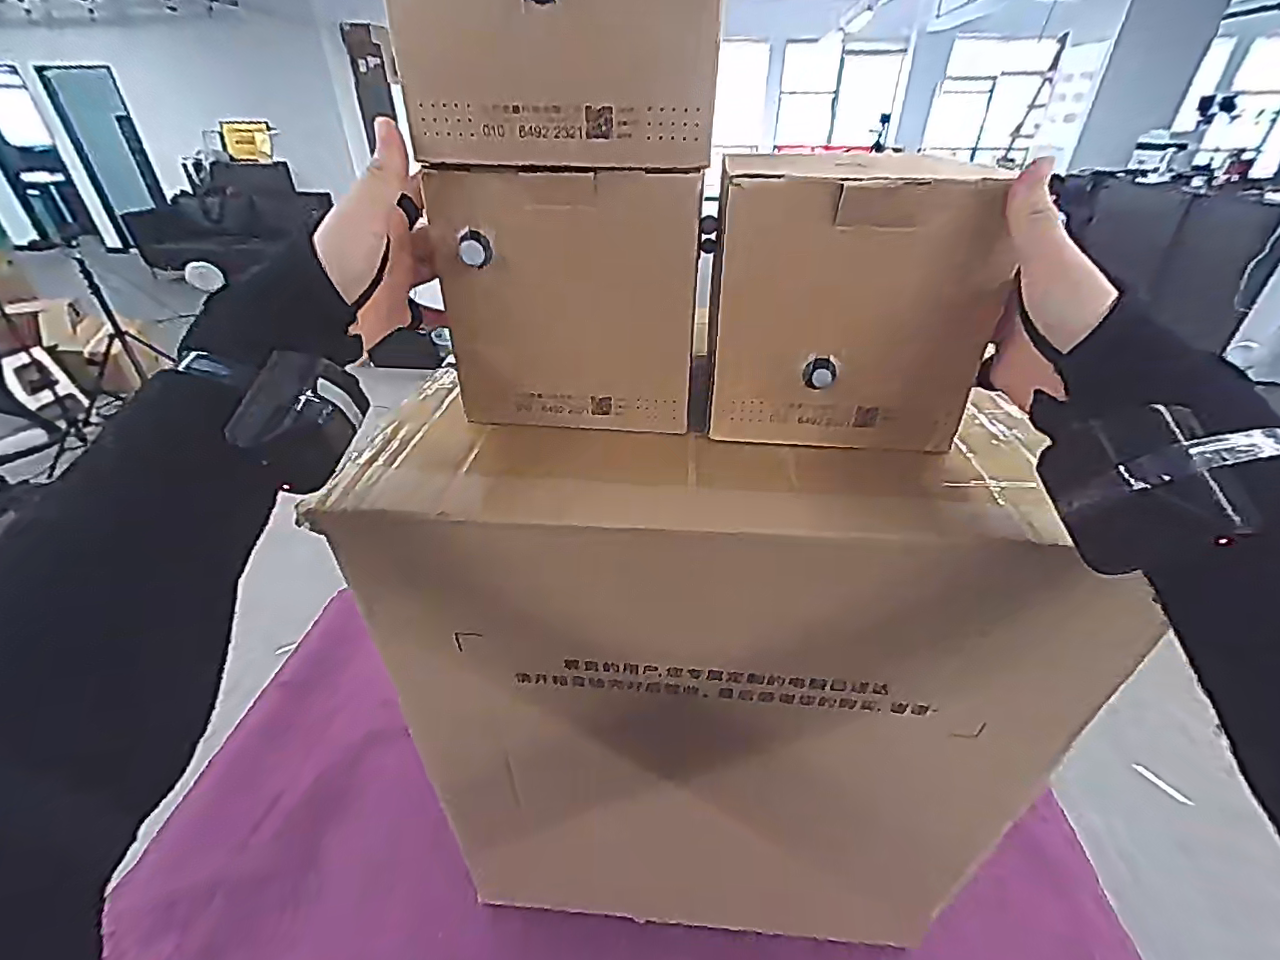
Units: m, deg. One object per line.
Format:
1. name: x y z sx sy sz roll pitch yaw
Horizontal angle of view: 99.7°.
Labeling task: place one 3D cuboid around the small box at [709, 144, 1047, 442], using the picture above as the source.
1. small box: 0.139 -0.146 0.400 0.168 0.176 0.179 3 35 5

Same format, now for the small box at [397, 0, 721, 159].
1. small box: -0.039 -0.292 0.322 0.168 0.176 0.179 2 33 0
